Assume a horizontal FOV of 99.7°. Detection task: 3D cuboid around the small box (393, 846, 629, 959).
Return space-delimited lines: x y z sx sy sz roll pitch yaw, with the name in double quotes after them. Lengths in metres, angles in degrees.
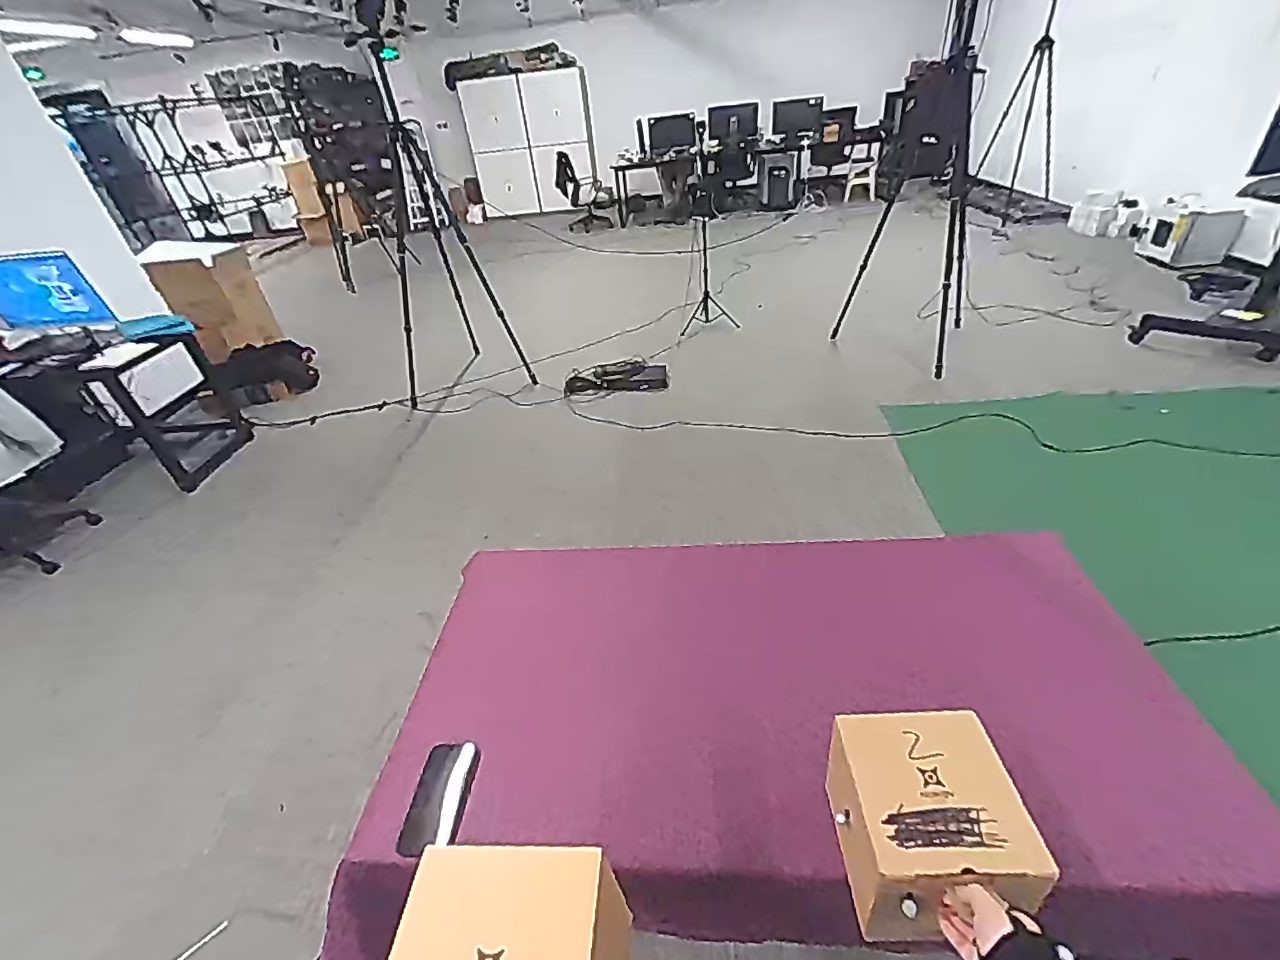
-0.105 0.442 0.455 0.168 0.176 0.179 -4 37 7 "small box"
